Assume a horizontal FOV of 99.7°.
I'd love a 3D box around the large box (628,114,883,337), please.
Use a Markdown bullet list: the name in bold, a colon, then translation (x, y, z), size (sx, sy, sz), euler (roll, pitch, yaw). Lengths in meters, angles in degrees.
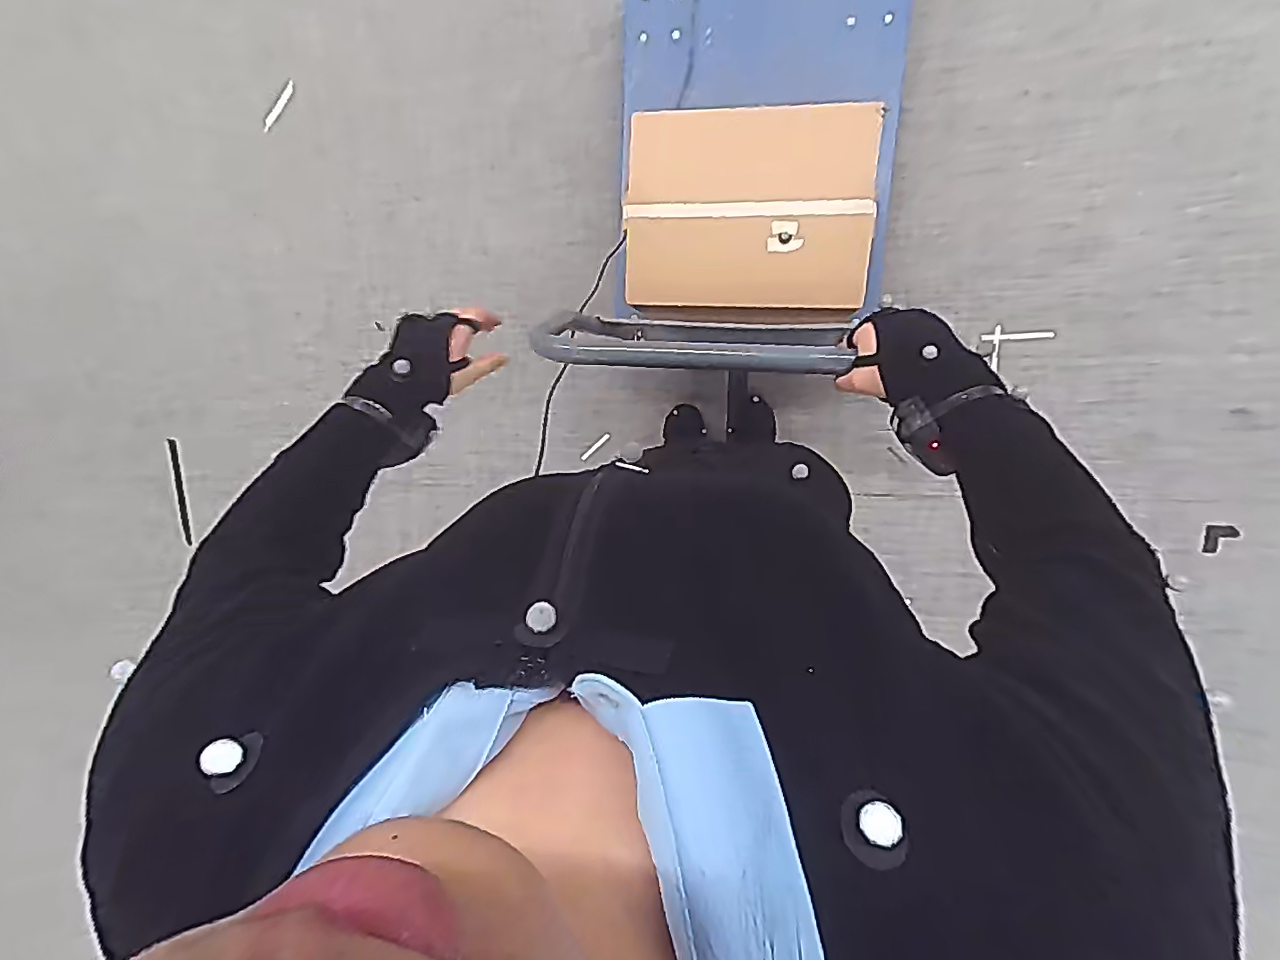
- **large box**: translation (0.201, -0.449, 1.037), size (0.408, 0.320, 0.320), euler (4, 100, 9)
